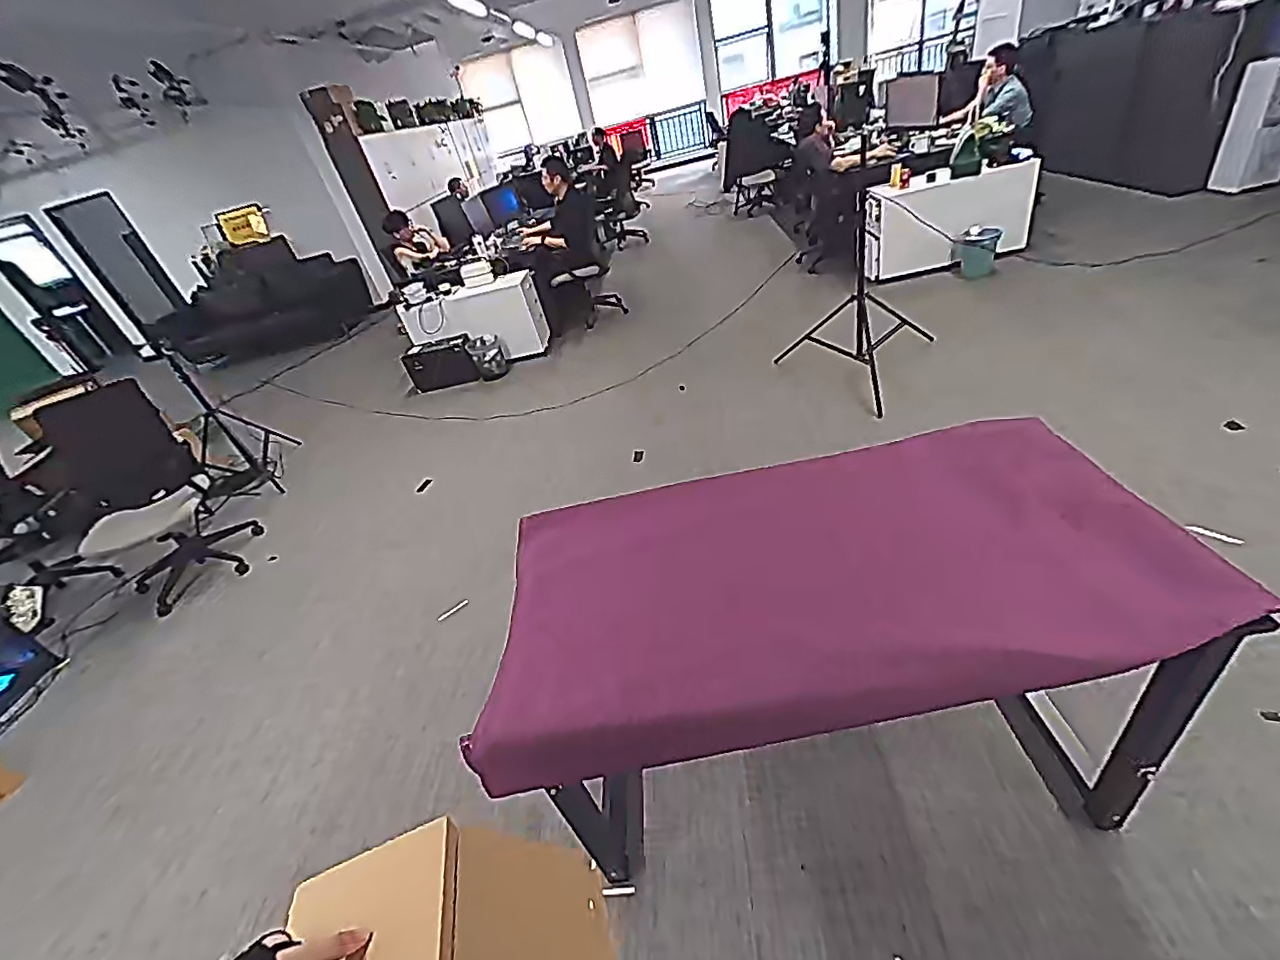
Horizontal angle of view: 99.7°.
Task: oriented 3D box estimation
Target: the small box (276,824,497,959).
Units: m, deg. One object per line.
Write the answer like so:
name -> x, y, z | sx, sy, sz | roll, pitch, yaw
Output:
small box -> -0.252, 0.512, 0.560 | 0.179, 0.176, 0.168 | -16, 24, -9
